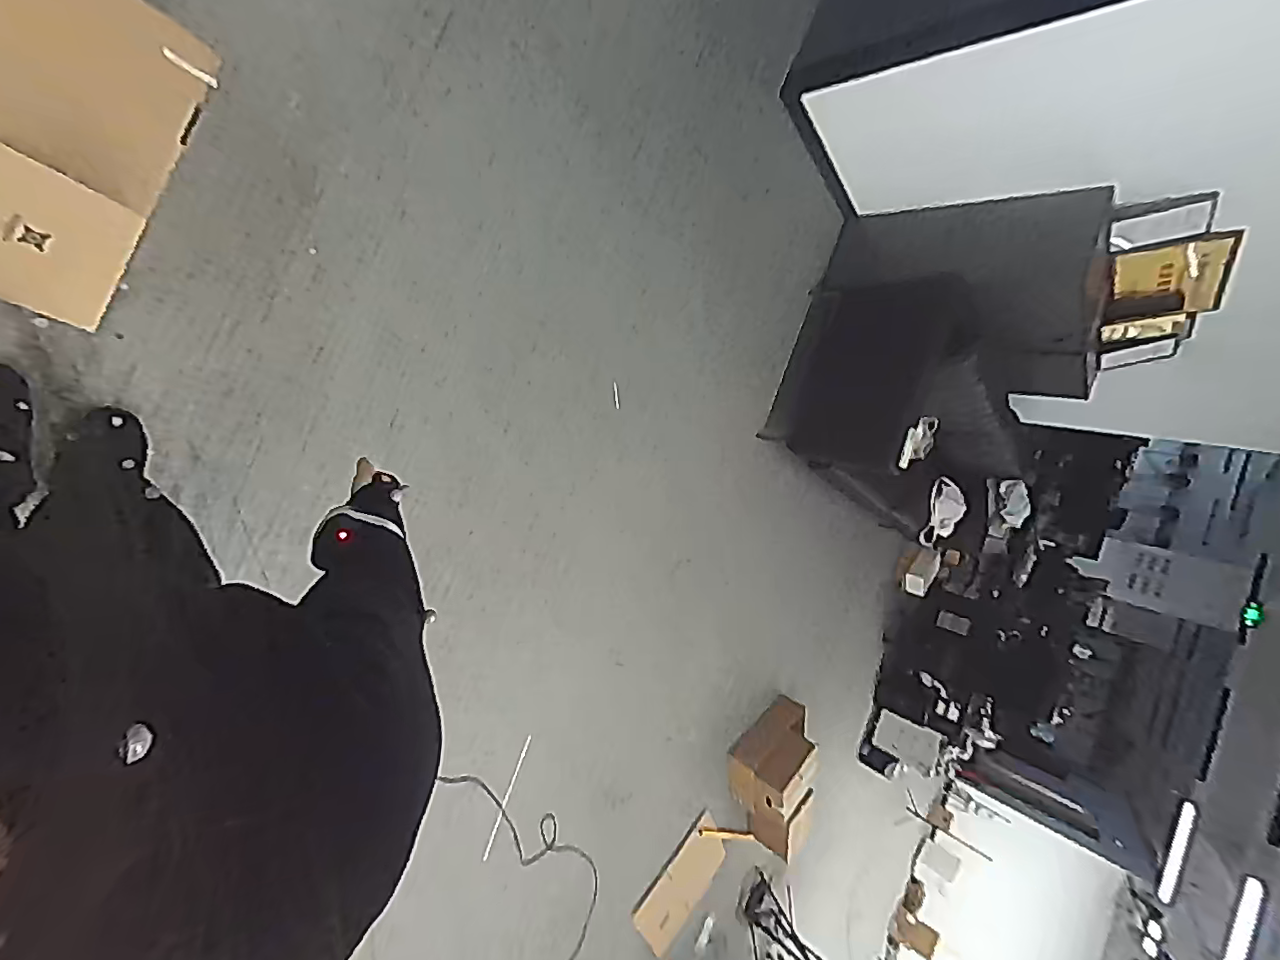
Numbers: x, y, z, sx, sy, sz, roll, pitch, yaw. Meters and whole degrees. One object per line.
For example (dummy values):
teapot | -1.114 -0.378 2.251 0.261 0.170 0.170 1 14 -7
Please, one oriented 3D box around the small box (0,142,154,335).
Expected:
small box | -0.771 -0.304 0.688 0.179 0.176 0.168 27 82 -48
